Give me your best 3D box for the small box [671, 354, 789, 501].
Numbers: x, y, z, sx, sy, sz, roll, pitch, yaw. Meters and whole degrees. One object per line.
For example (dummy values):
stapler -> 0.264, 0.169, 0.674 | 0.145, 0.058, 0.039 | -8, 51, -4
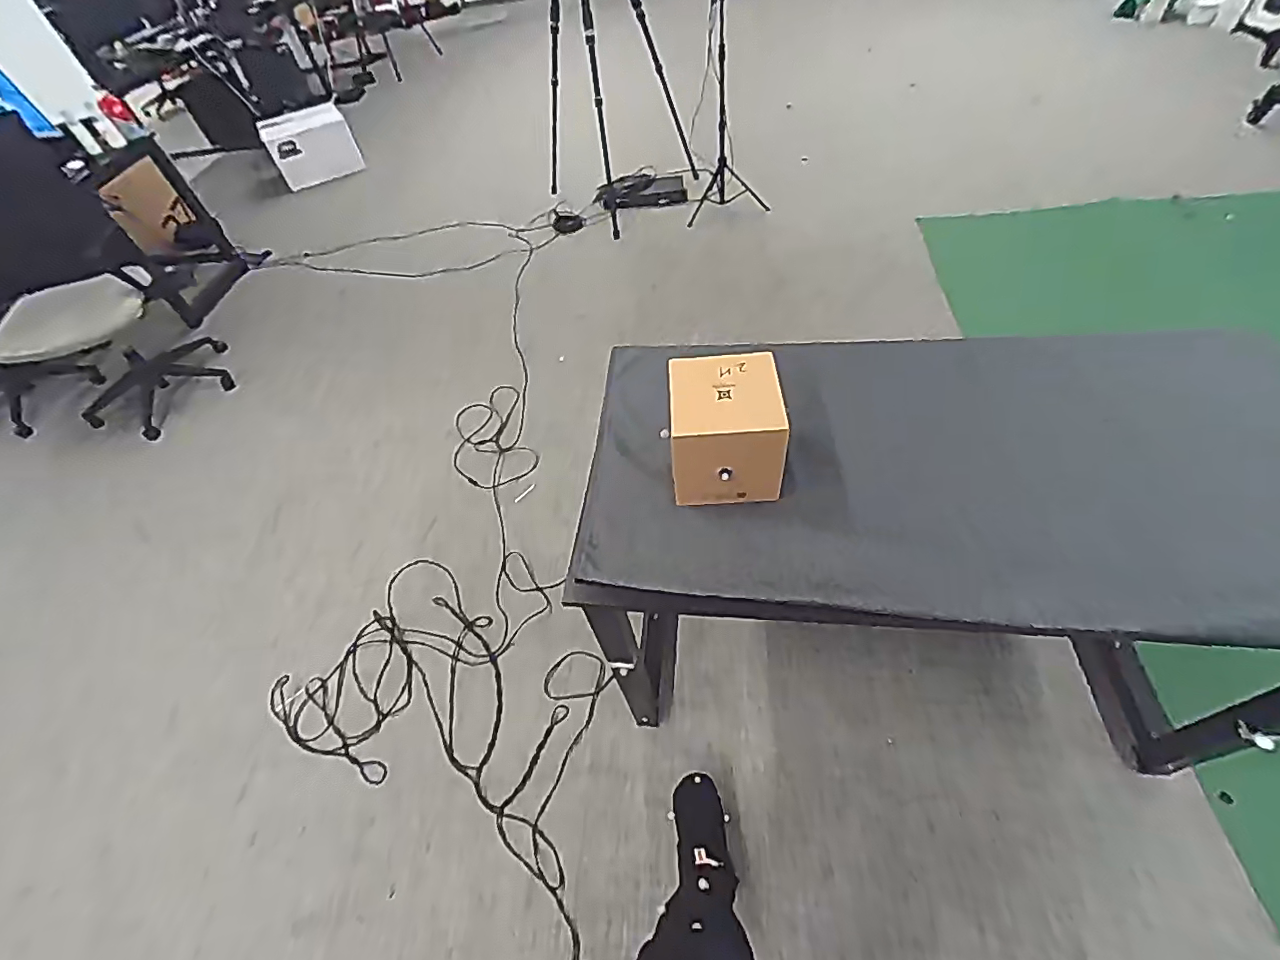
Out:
small box -> 0.139, -0.076, 0.869 | 0.168, 0.176, 0.179 | -3, 50, 5
